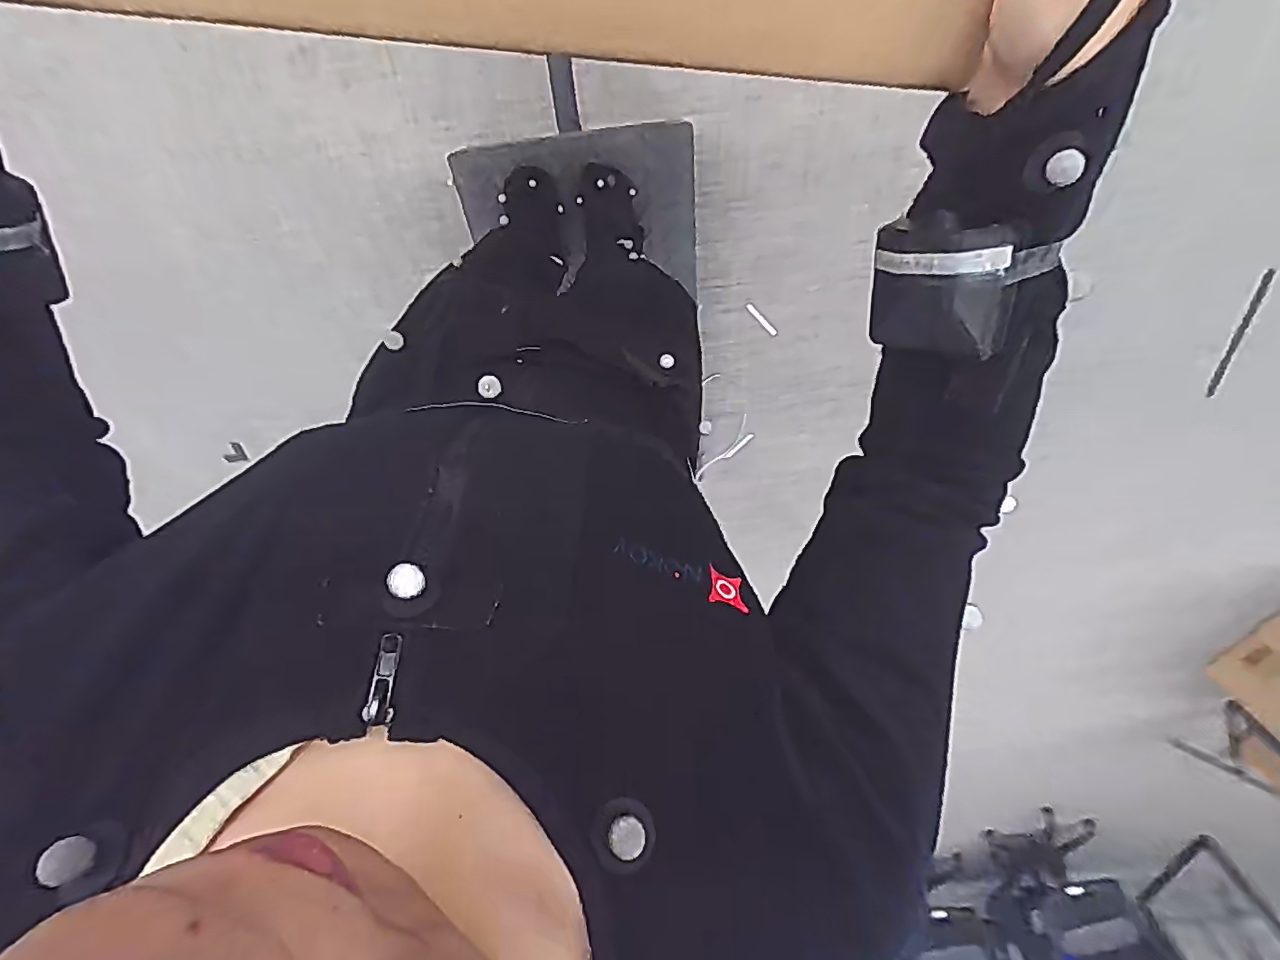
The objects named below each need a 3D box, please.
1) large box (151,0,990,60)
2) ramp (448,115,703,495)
[{"bbox_3d":[-0.055,-0.395,0.199,0.408,0.320,0.320,2,140,-5],"label":"large box"},{"bbox_3d":[-0.087,-0.332,1.401,0.509,0.206,0.991,-9,125,1],"label":"ramp"}]
